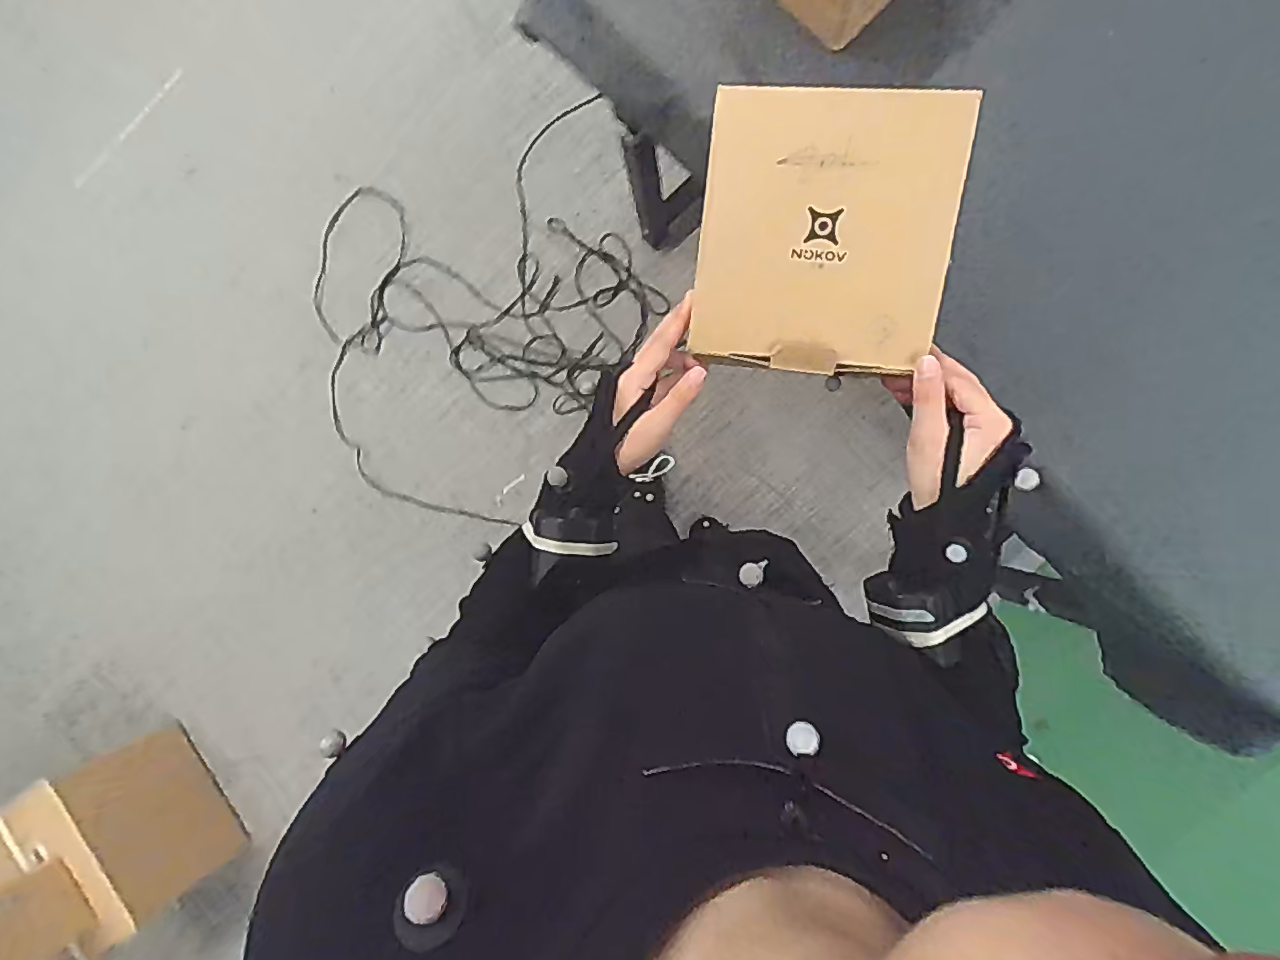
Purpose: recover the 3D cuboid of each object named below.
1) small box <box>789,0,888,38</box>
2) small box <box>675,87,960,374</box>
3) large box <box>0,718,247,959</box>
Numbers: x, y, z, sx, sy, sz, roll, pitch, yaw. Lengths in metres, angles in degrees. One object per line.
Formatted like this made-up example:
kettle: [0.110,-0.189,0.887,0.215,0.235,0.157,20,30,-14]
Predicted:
small box: [0.221,-0.618,0.548,0.168,0.176,0.179,-43,86,3]
small box: [0.125,-0.180,0.440,0.168,0.176,0.179,6,101,8]
large box: [-1.319,0.903,1.357,0.320,0.320,0.408,-37,85,4]
